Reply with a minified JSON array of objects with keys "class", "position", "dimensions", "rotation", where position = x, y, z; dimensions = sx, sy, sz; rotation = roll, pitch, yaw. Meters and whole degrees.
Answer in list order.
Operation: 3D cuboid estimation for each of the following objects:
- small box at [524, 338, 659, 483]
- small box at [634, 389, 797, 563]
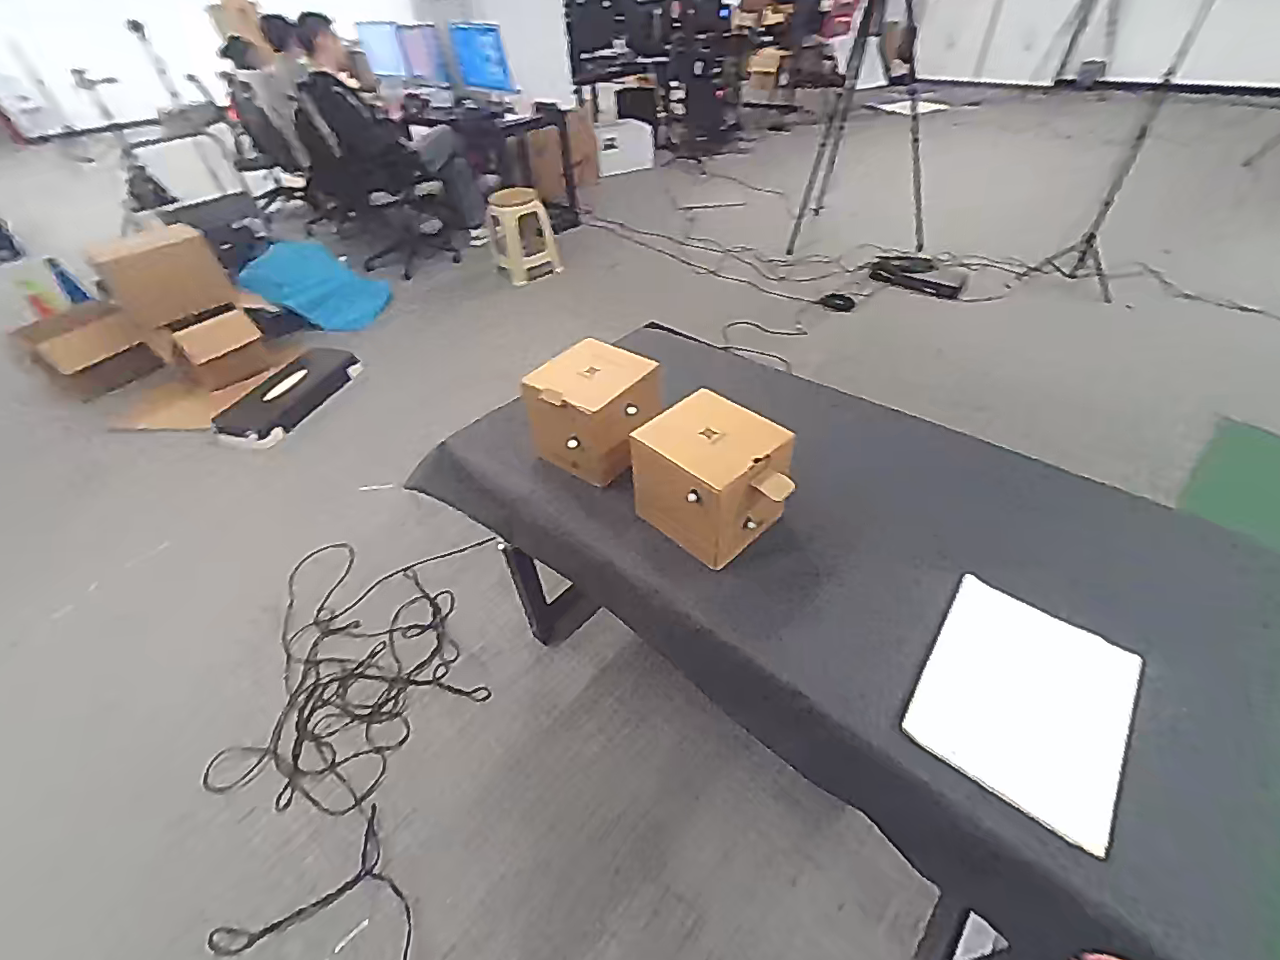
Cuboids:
[{"class":"small box","position":[-0.076,-0.123,0.965],"dimensions":[0.168,0.176,0.179],"rotation":[27,50,28]},{"class":"small box","position":[0.109,-0.007,0.826],"dimensions":[0.168,0.176,0.179],"rotation":[-34,51,-29]}]
